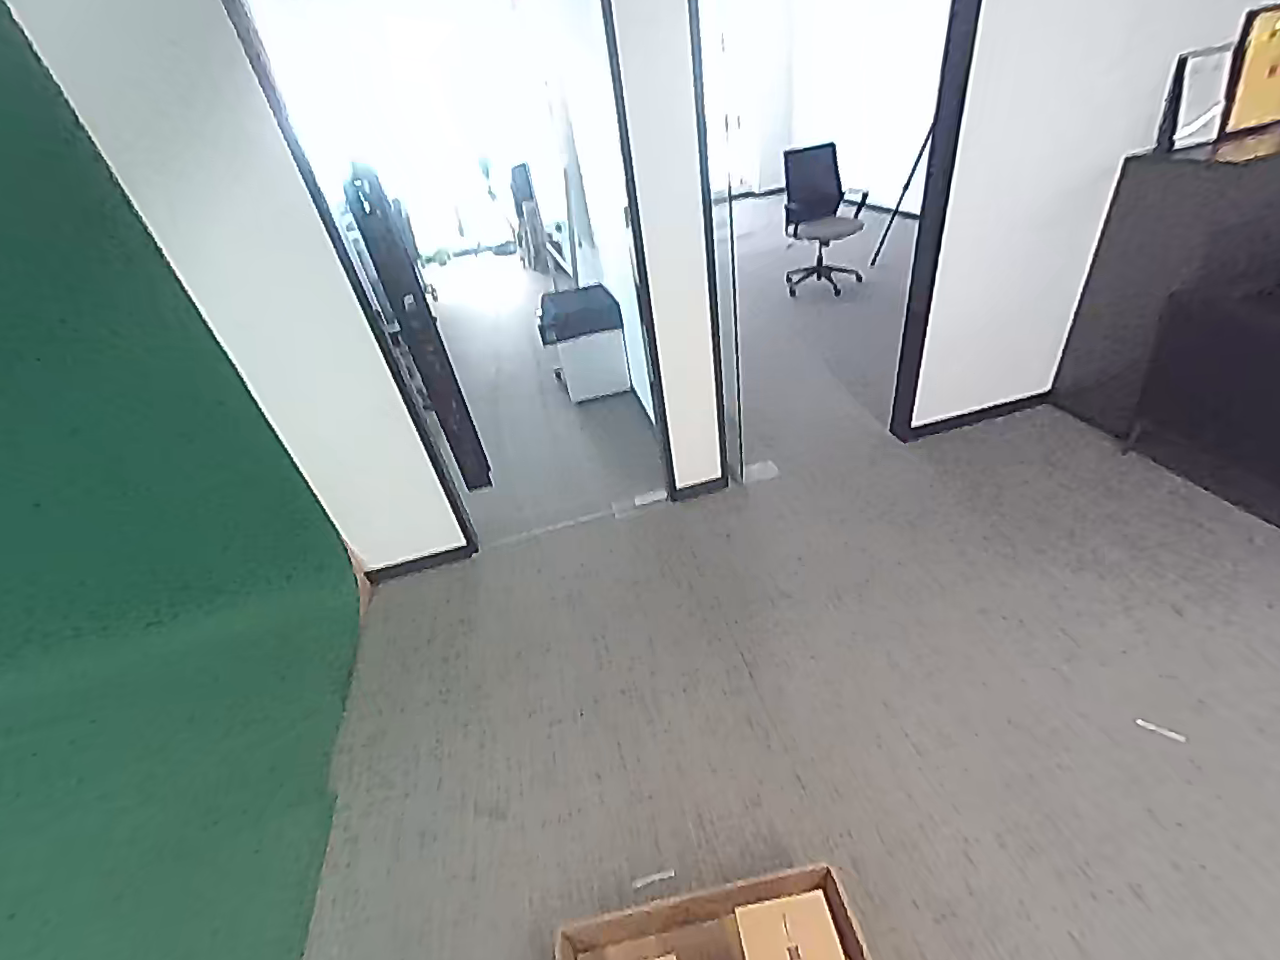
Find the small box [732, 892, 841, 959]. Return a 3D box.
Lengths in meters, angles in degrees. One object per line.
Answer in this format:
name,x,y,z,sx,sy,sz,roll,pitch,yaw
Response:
small box,0.268,0.871,0.949,0.168,0.176,0.179,-11,34,0
